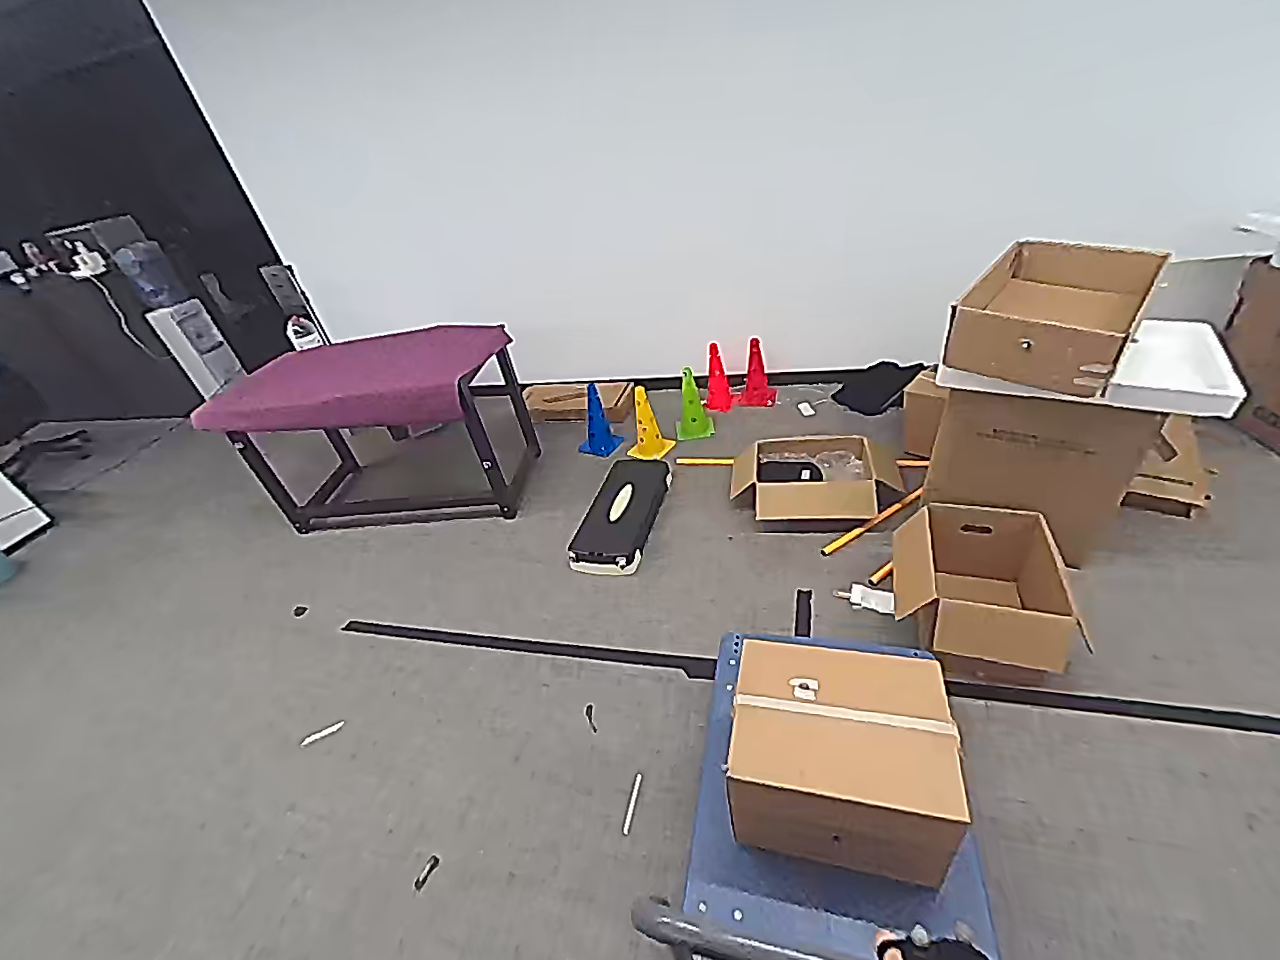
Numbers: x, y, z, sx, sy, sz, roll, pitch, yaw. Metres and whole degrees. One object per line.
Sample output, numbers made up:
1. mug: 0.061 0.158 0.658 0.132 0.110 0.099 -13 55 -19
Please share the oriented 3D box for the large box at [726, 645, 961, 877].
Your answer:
1. large box: 0.413 0.591 1.162 0.408 0.320 0.320 0 36 17
